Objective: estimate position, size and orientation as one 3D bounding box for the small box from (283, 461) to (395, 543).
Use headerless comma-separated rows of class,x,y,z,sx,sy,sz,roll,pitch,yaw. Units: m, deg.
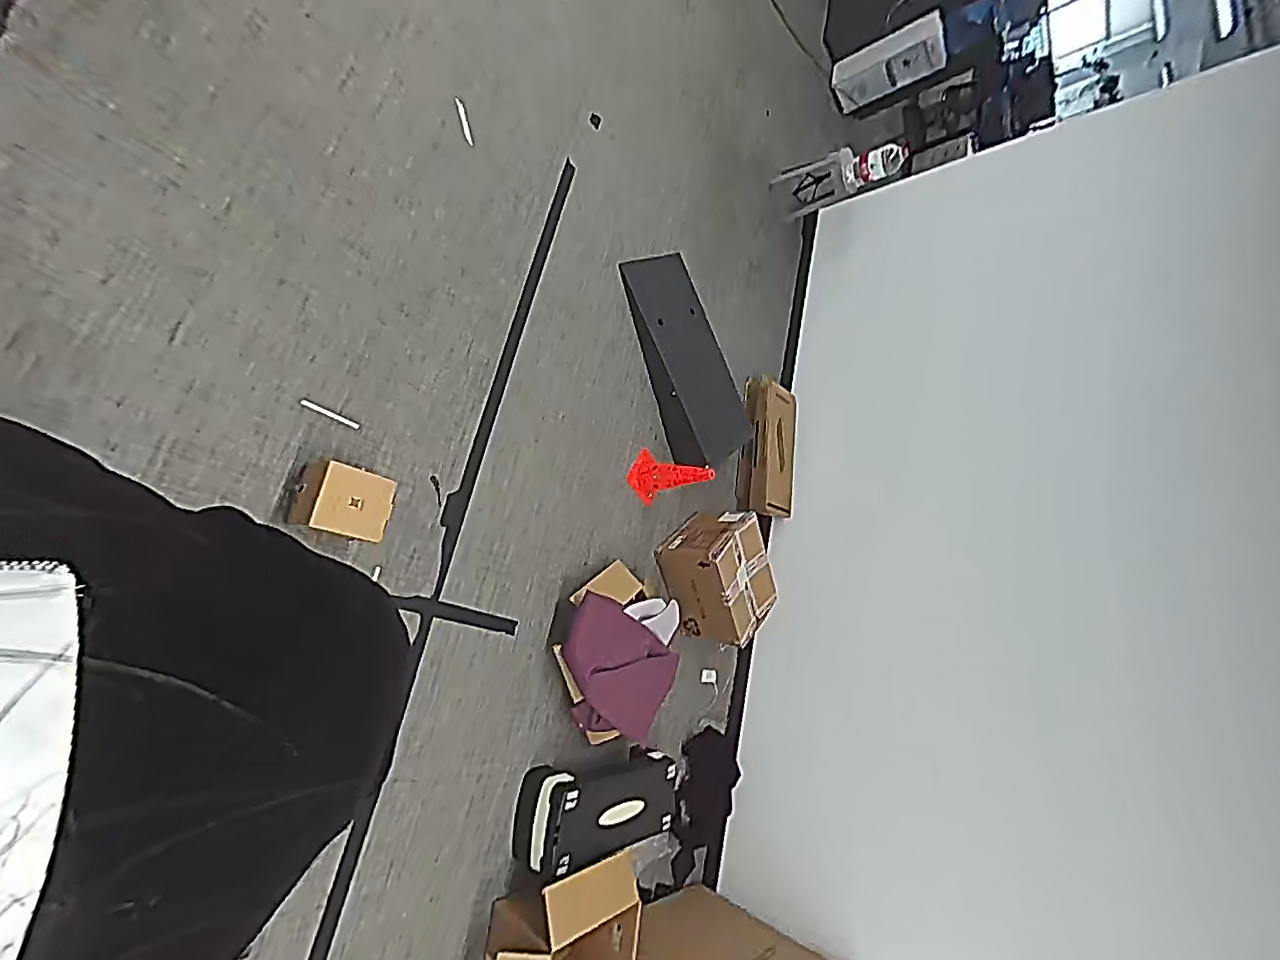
small box,-0.764,0.058,1.375,0.179,0.176,0.168,26,68,-45
